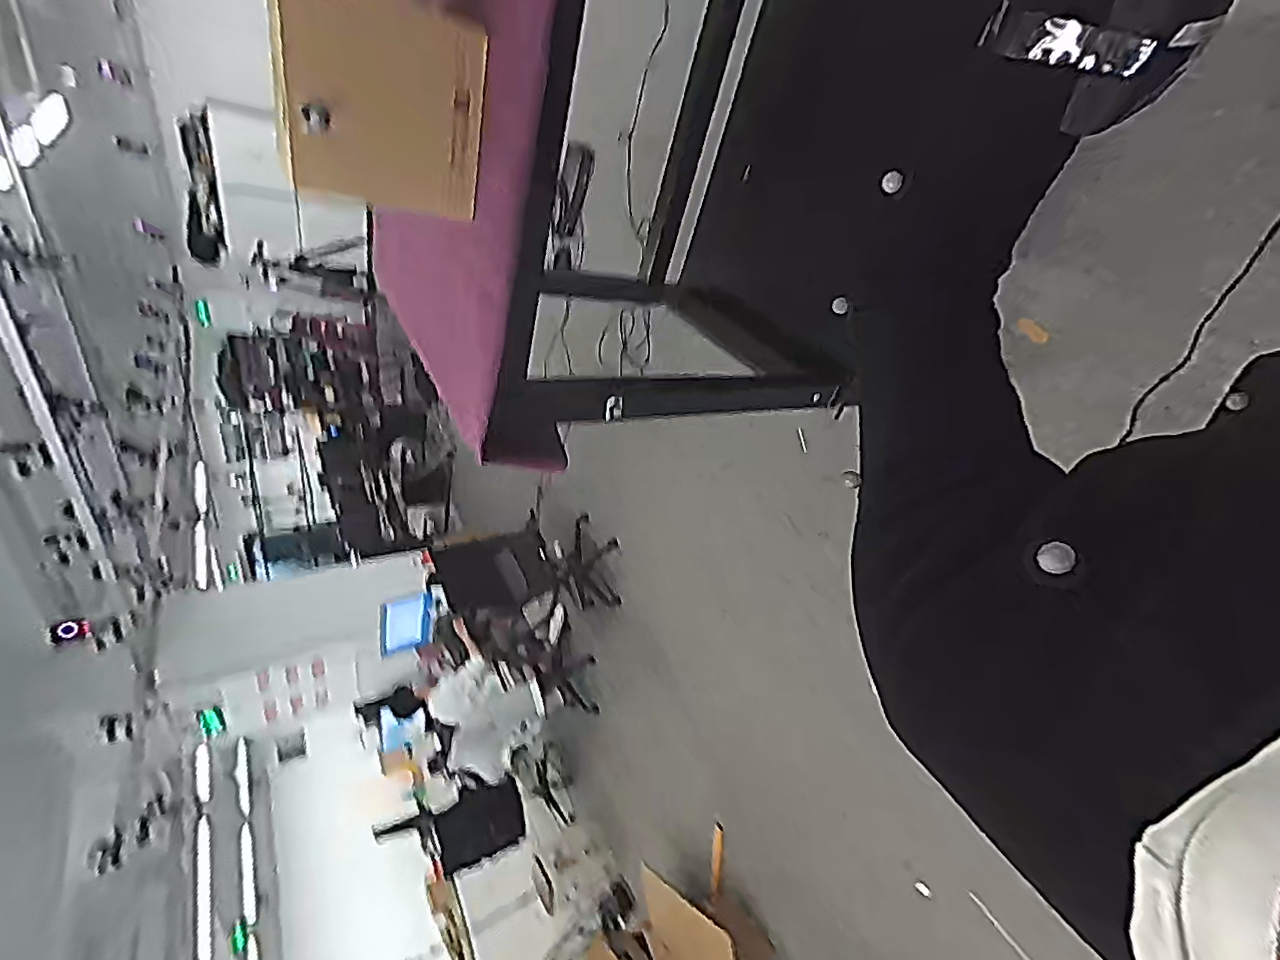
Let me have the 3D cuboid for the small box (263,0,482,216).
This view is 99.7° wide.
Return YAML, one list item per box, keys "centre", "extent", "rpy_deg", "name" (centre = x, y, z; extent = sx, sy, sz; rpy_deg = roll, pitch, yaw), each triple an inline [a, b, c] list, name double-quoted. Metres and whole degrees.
- centre: [-0.273, -0.384, 0.549]
  extent: [0.179, 0.176, 0.168]
  rpy_deg: [50, 135, 40]
  name: "small box"
